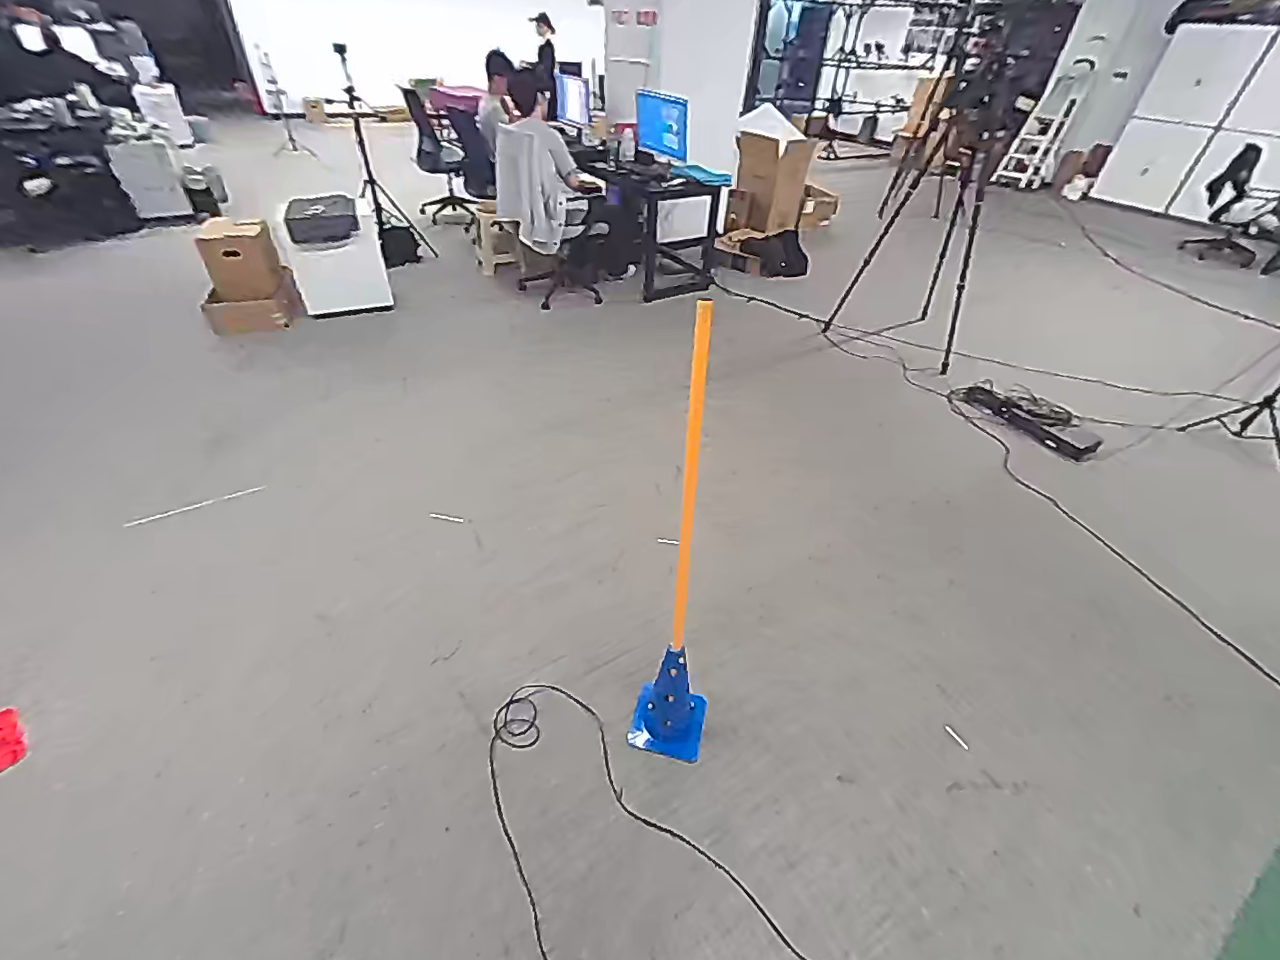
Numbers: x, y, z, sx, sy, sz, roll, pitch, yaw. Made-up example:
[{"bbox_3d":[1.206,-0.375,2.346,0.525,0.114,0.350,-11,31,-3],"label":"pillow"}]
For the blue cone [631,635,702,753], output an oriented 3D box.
[{"bbox_3d":[0.083,0.544,1.447,0.192,0.380,0.193,10,38,9],"label":"blue cone"}]
